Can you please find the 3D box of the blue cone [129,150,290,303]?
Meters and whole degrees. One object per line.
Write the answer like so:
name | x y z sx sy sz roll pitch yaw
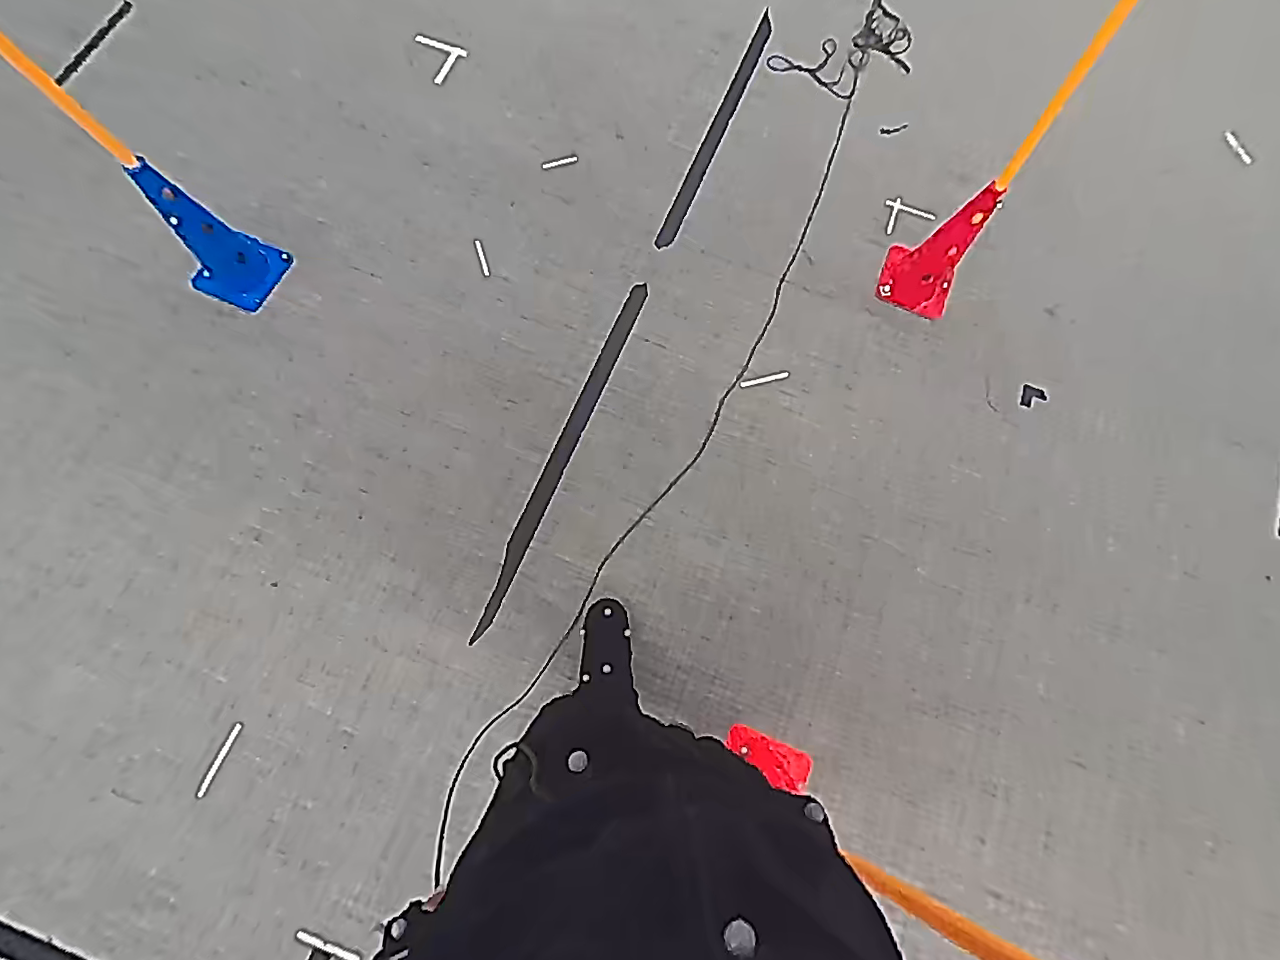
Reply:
blue cone | -1.066 -0.618 1.306 0.193 0.380 0.192 25 74 3

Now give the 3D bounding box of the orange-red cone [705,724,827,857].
orange-red cone | 0.271 0.624 1.022 0.198 0.360 0.199 25 76 4
